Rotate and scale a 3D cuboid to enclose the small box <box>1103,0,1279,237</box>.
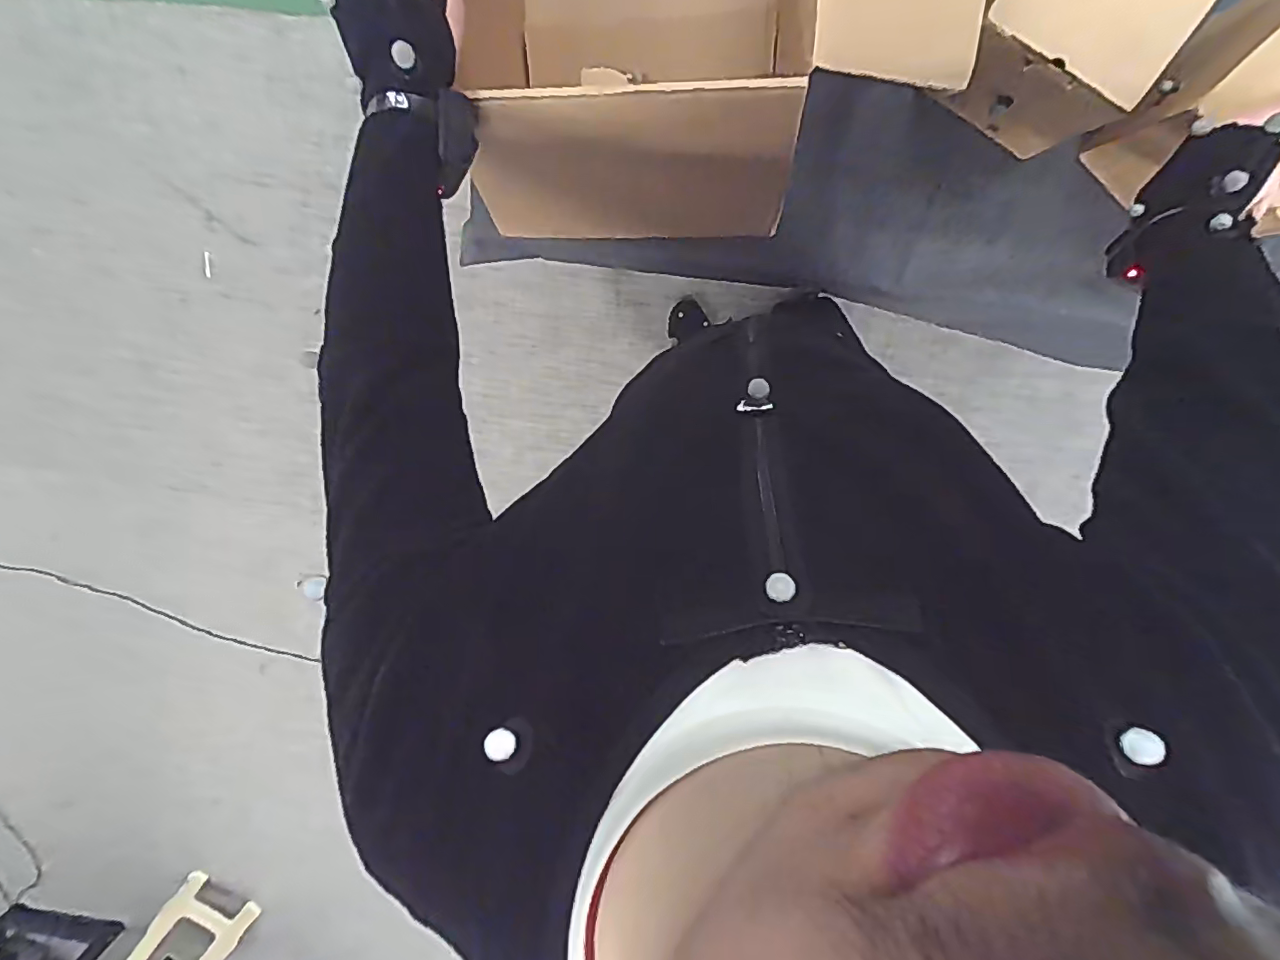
[{"bbox_3d":[0.638,-0.377,0.555,0.168,0.176,0.179,39,108,-7],"label":"small box"}]
